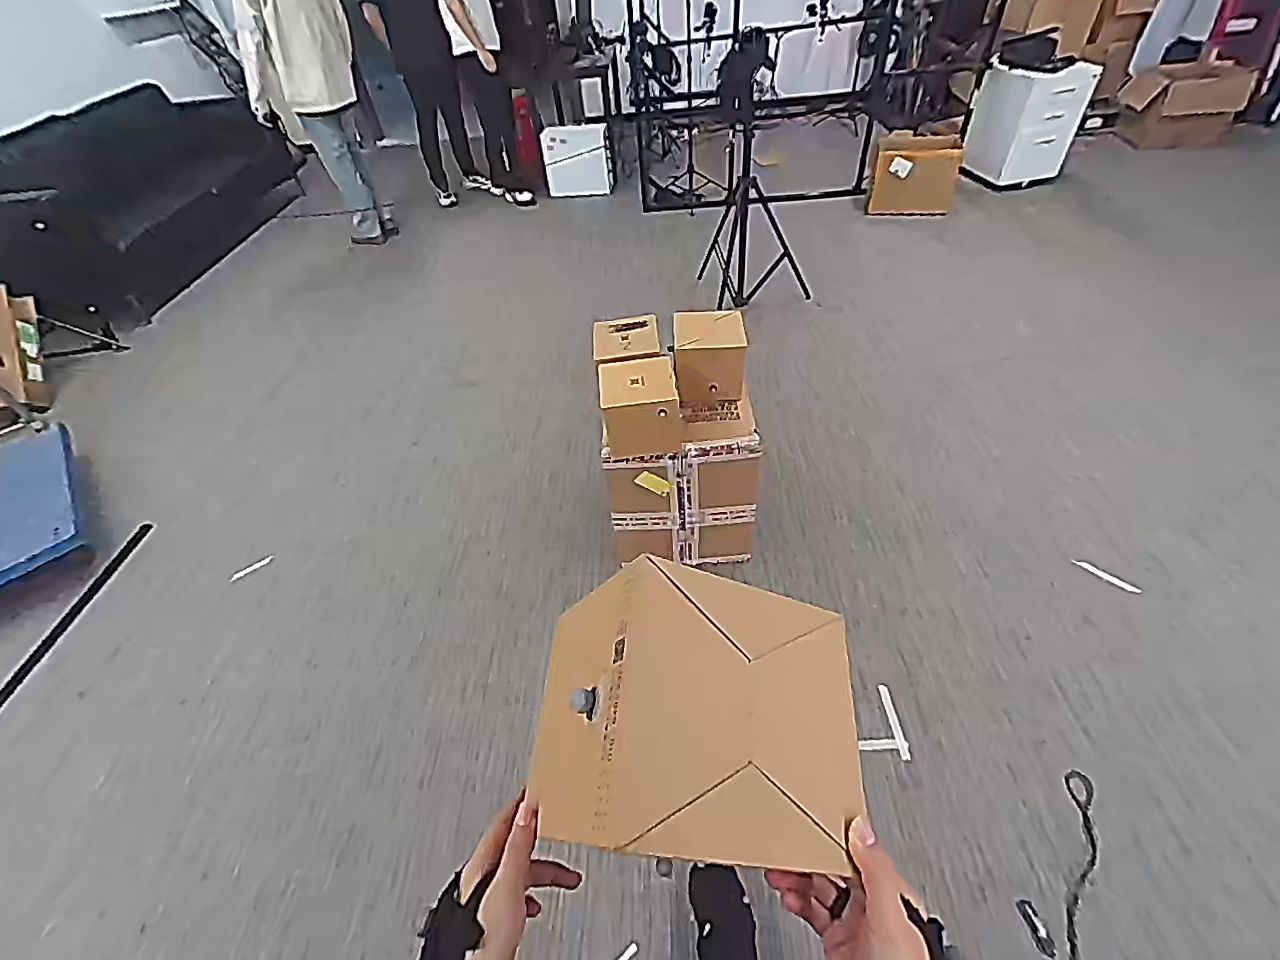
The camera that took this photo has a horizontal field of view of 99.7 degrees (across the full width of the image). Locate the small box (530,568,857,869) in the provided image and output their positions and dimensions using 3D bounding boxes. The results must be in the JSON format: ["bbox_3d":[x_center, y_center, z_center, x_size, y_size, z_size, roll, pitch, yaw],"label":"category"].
[{"bbox_3d":[0.037,0.187,0.414,0.179,0.176,0.168,21,53,-20],"label":"small box"}]
